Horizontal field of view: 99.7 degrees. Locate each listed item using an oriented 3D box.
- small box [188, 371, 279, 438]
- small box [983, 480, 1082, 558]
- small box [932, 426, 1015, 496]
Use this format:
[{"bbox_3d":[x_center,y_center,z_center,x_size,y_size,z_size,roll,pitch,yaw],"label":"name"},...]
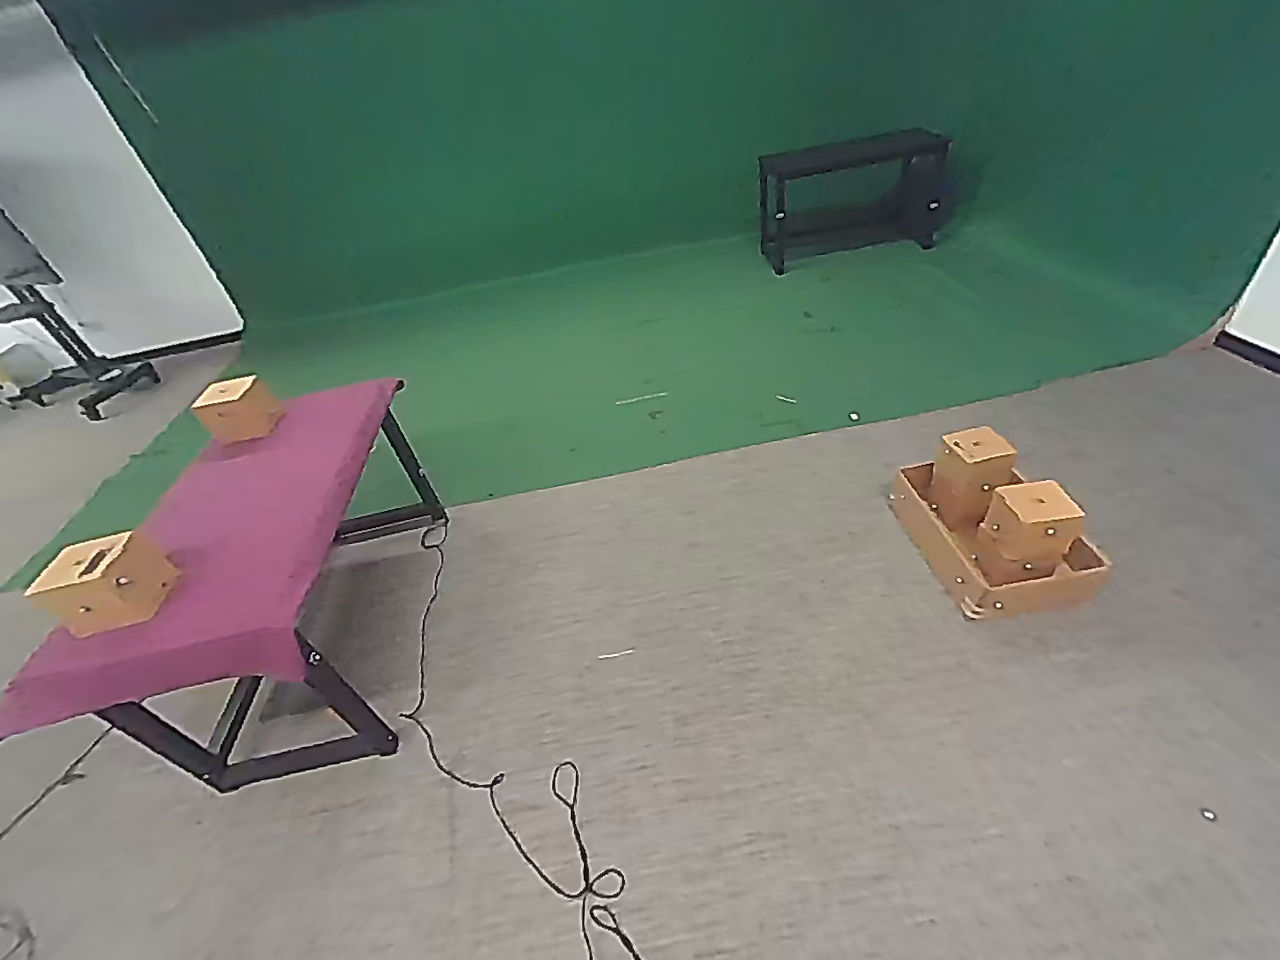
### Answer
[{"bbox_3d":[-1.475,-0.271,1.975,0.179,0.176,0.168,-10,42,0],"label":"small box"},{"bbox_3d":[1.221,0.124,1.699,0.179,0.176,0.168,-9,40,5],"label":"small box"},{"bbox_3d":[1.180,-0.065,1.929,0.179,0.176,0.168,-11,40,-1],"label":"small box"}]
